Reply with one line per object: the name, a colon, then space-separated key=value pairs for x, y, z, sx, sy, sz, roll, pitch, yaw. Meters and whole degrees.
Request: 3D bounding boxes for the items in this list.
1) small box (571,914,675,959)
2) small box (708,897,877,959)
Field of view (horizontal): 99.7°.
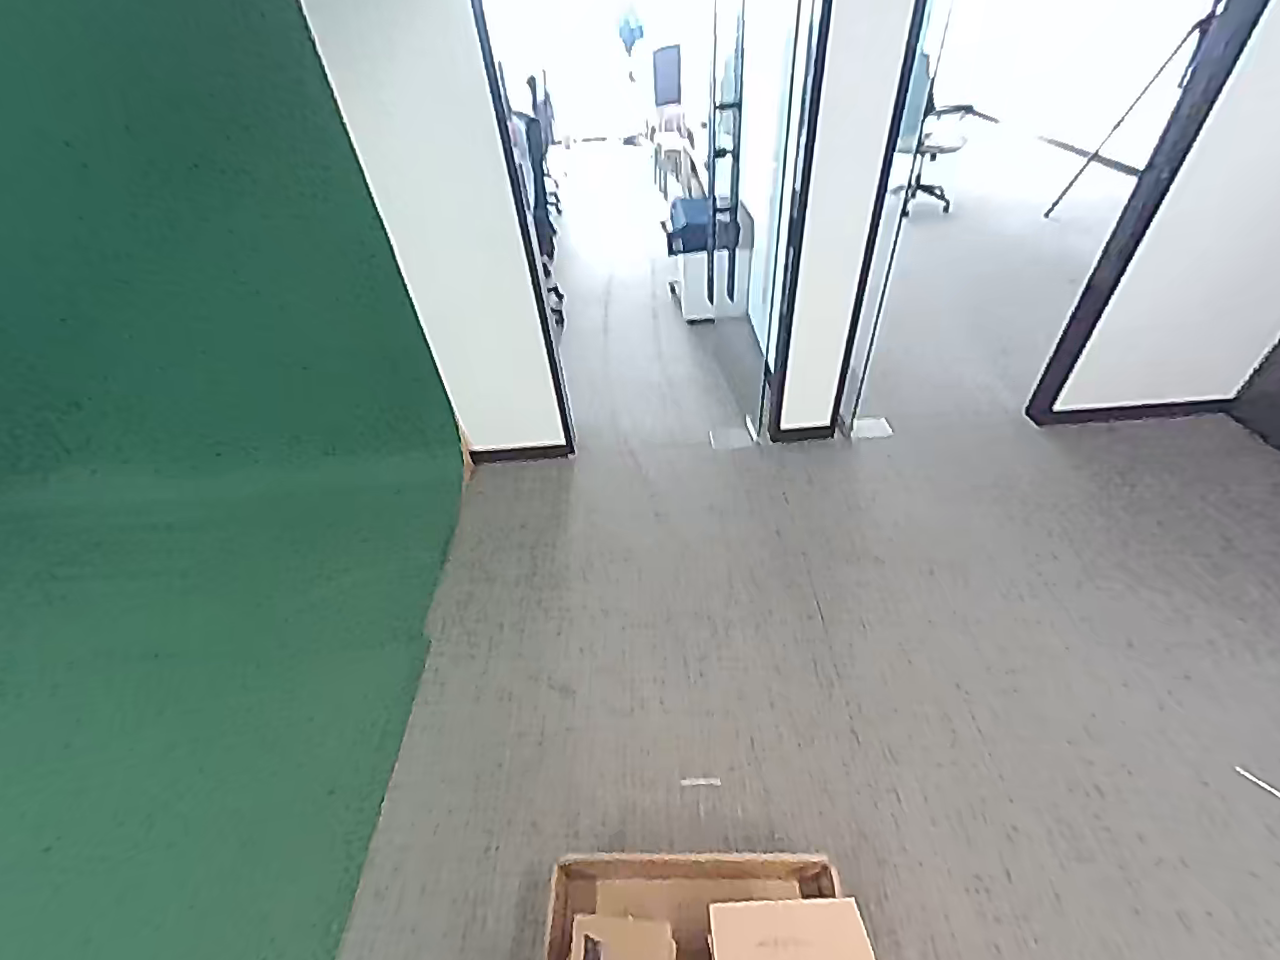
small box: x=-0.030 y=0.900 z=0.960 sx=0.179 sy=0.176 sz=0.168 roll=1 pitch=42 yaw=5
small box: x=0.162 y=0.568 z=0.540 sx=0.168 sy=0.176 sz=0.179 roll=-4 pitch=17 yaw=3
